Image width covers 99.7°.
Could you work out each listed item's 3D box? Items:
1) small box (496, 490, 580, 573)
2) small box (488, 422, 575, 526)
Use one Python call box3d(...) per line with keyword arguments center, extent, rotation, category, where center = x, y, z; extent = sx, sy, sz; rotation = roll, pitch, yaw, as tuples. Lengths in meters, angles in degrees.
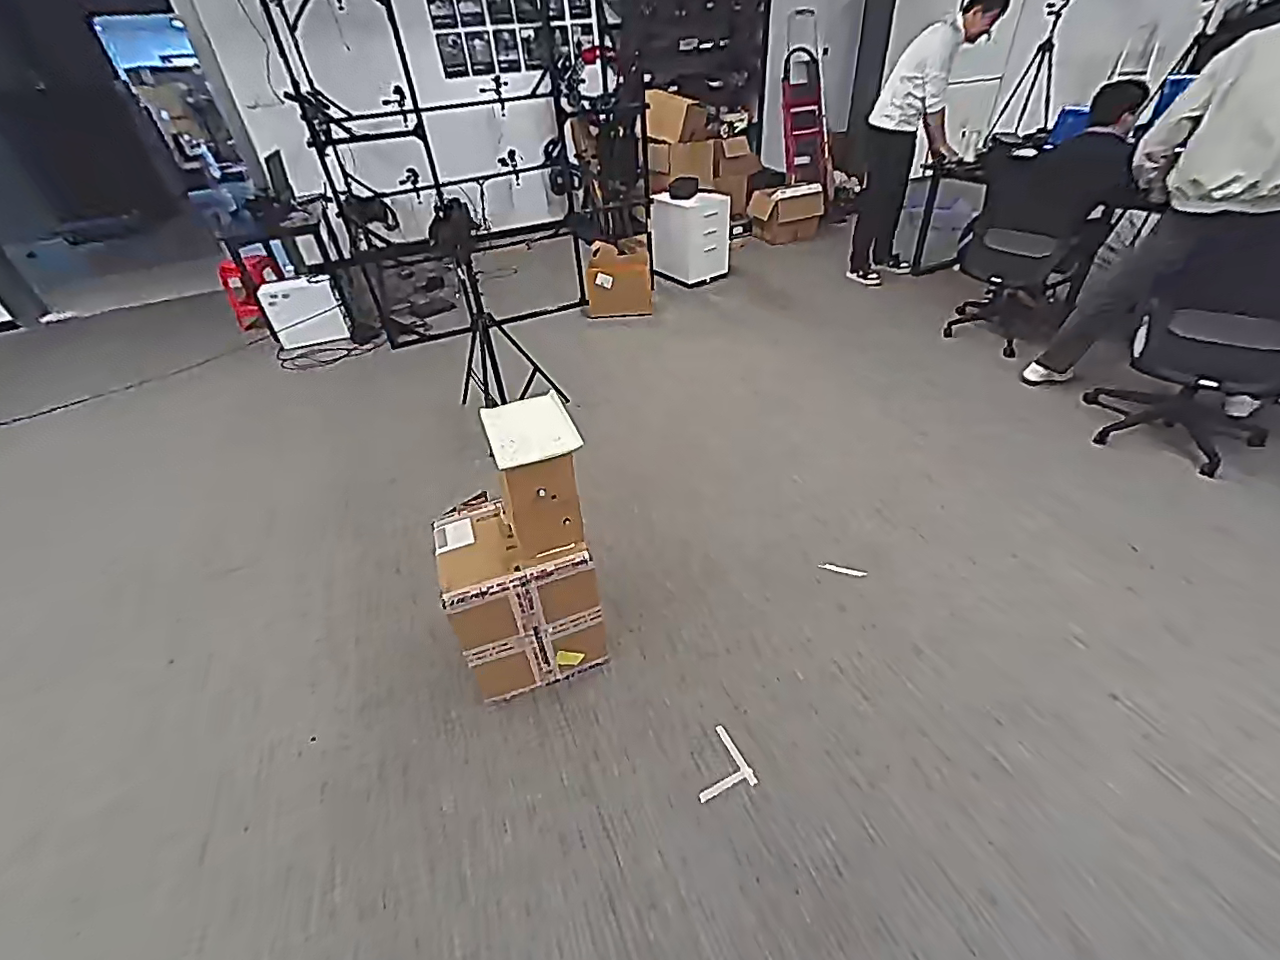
box3d(center=(-0.264, 0.113, 1.432), extent=(0.179, 0.176, 0.168), rotation=(-18, 41, -19), category="small box")
box3d(center=(-0.265, -0.015, 1.330), extent=(0.168, 0.176, 0.179), rotation=(-15, 42, -16), category="small box")
